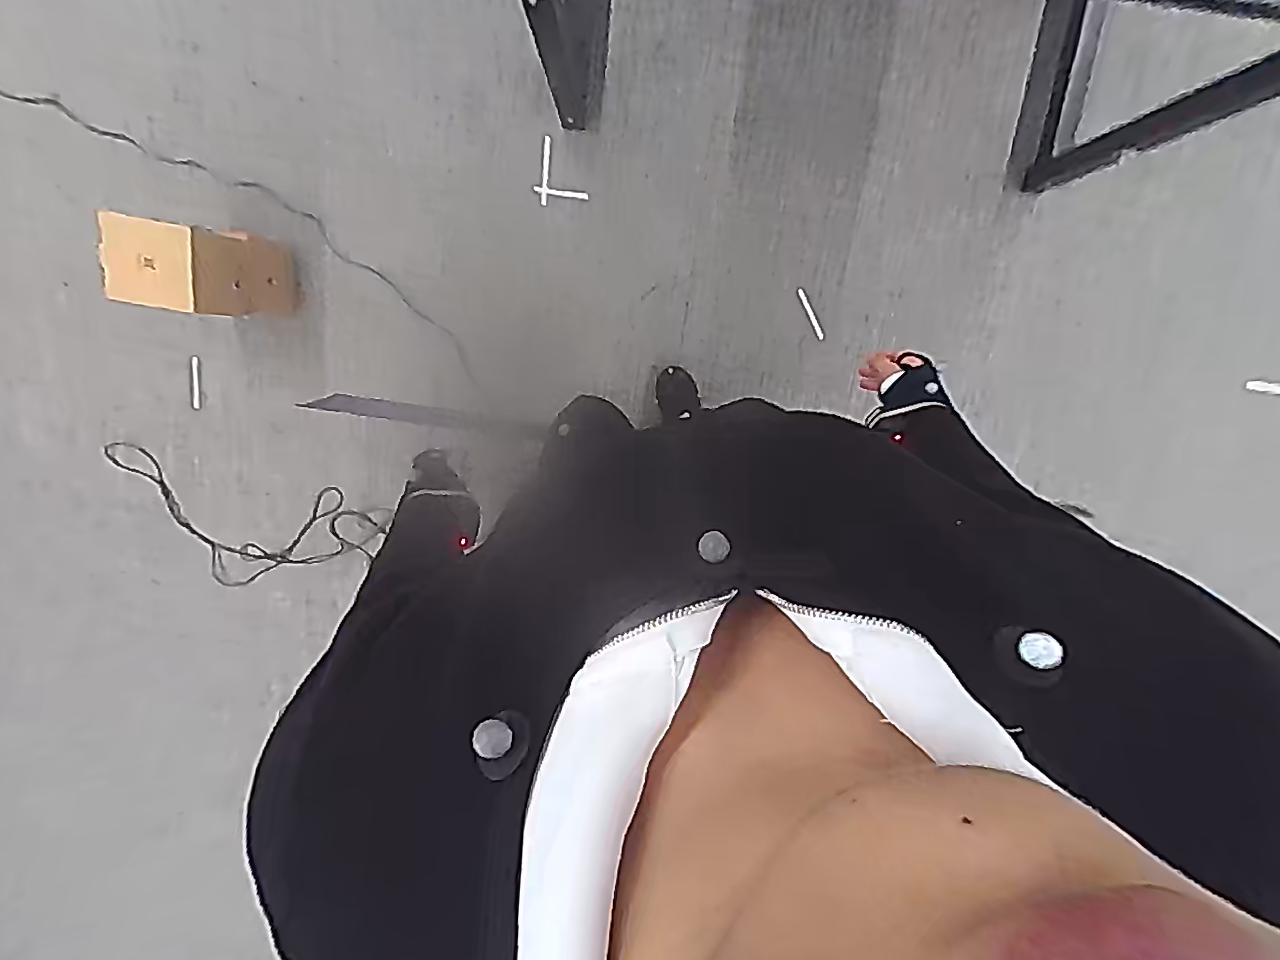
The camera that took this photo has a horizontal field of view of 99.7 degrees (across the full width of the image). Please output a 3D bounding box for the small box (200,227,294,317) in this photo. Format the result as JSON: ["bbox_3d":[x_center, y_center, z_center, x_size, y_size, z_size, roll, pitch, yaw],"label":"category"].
[{"bbox_3d":[-0.962,-0.493,1.296,0.168,0.176,0.179,6,104,-2],"label":"small box"}]

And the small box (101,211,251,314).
[{"bbox_3d":[-0.965,-0.448,1.140,0.179,0.176,0.168,8,106,-4],"label":"small box"}]
